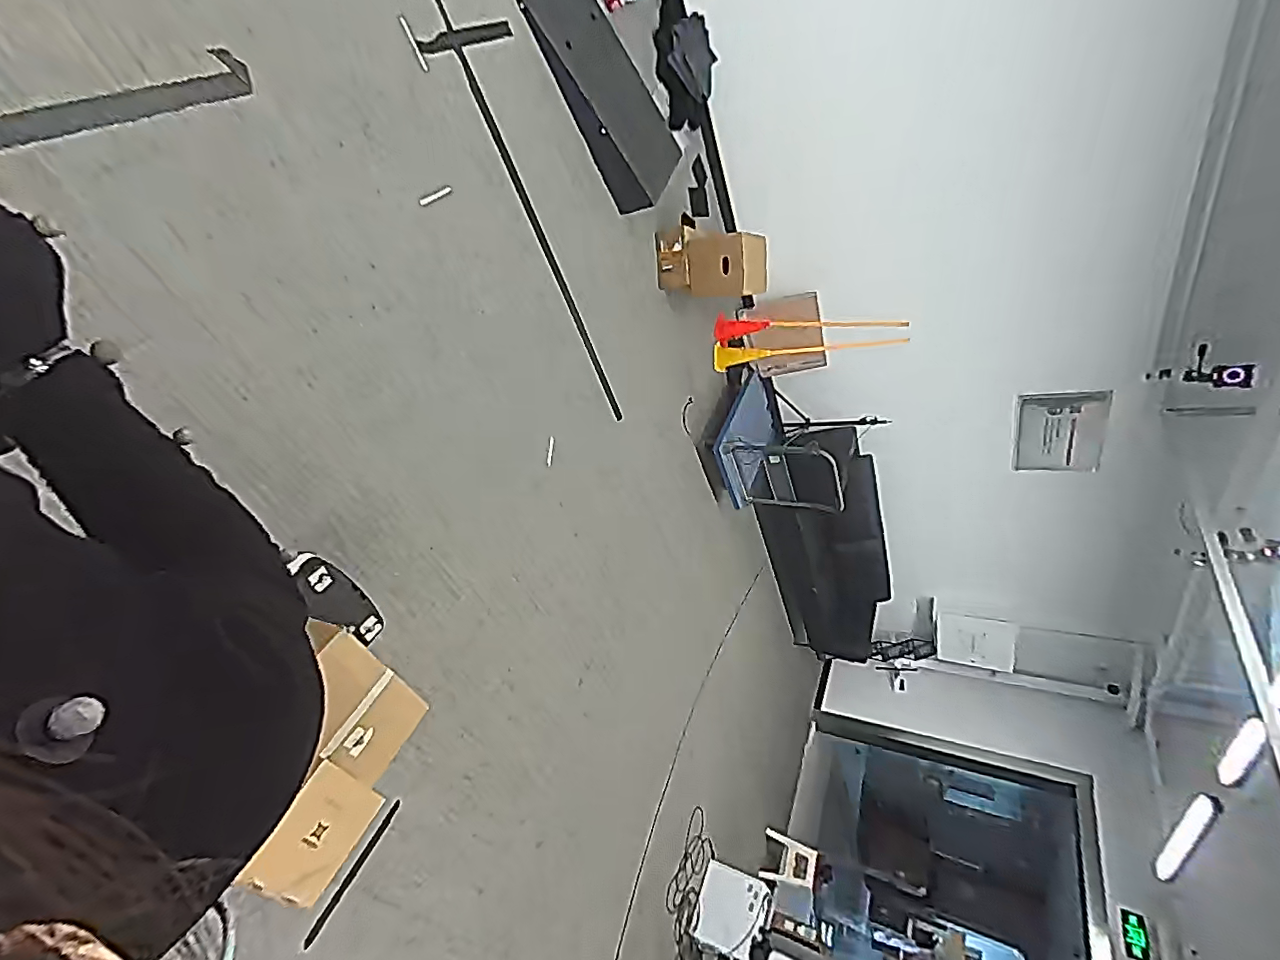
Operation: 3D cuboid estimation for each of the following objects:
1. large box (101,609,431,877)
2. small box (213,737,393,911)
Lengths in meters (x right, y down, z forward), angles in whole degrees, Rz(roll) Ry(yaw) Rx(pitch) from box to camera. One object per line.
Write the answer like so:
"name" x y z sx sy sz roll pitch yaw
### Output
"large box" -0.737 0.534 1.116 0.408 0.320 0.320 -59 138 -40
"small box" -0.573 0.572 0.917 0.179 0.176 0.168 -59 136 -40
